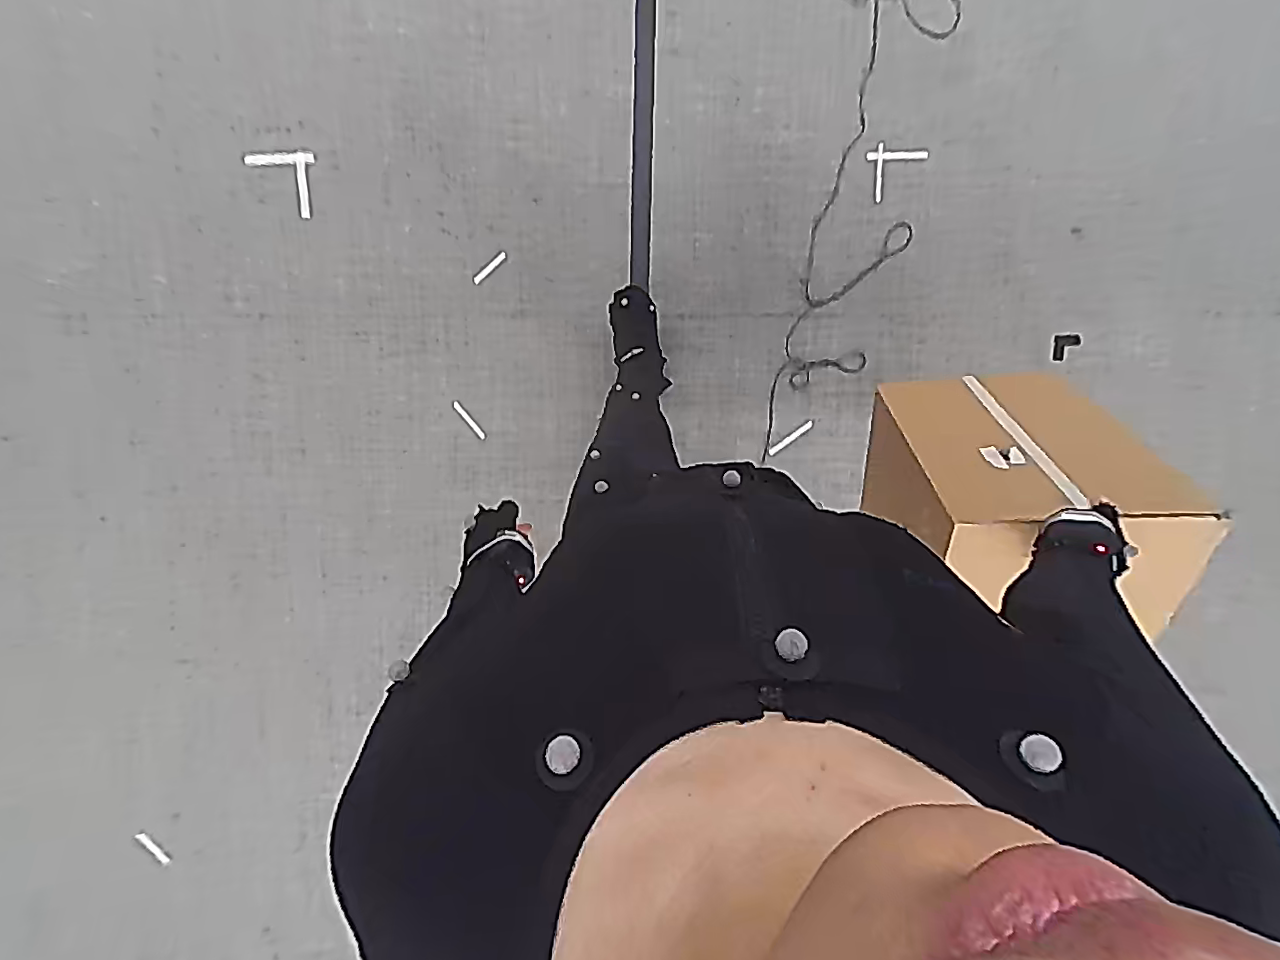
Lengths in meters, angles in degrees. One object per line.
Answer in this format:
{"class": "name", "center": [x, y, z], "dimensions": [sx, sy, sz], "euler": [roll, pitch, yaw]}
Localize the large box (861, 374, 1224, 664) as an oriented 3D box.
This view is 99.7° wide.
{"class": "large box", "center": [0.600, 0.052, 0.926], "dimensions": [0.320, 0.408, 0.320], "euler": [-3, 127, 9]}
